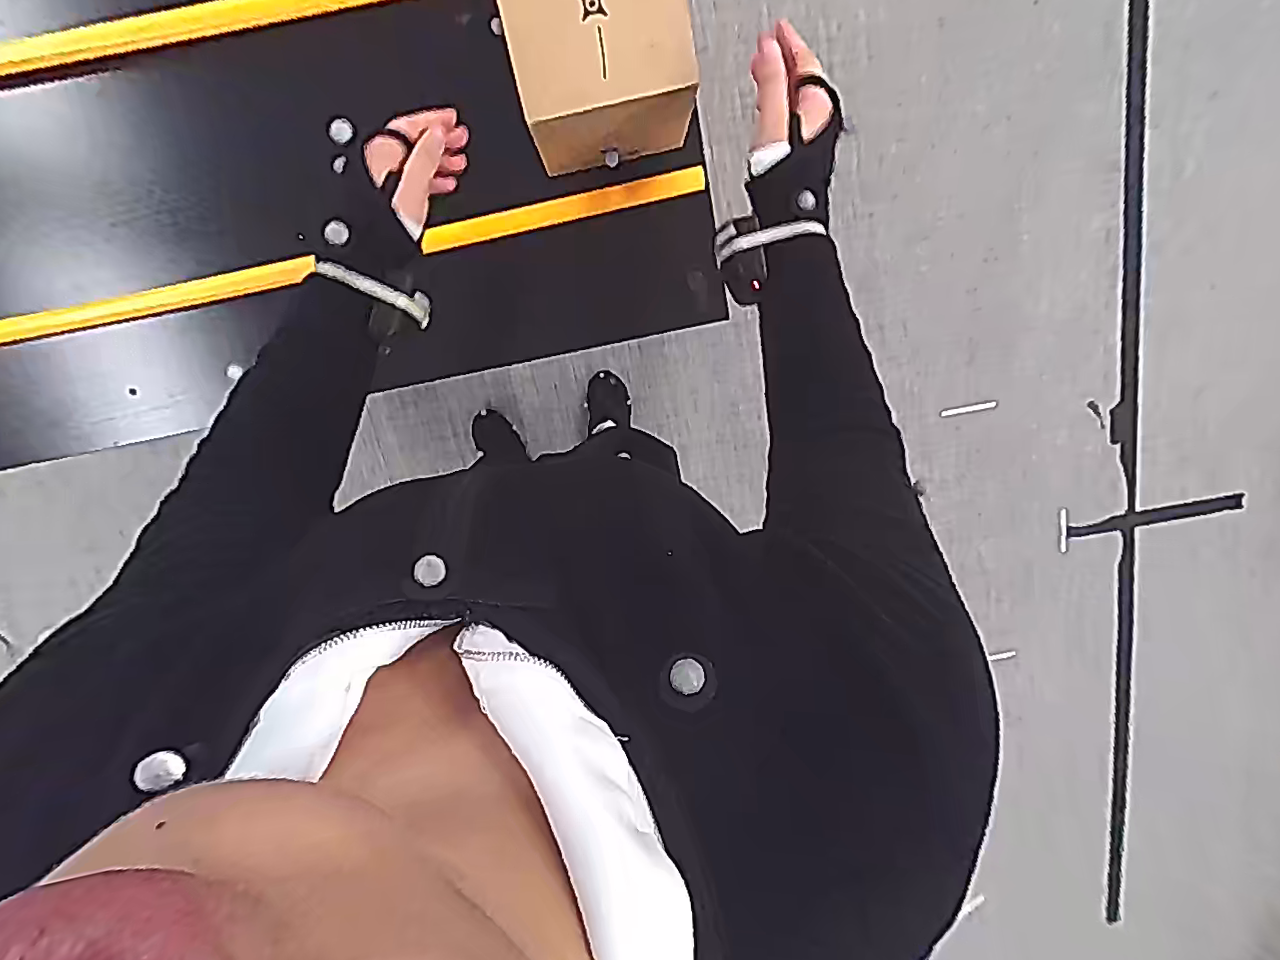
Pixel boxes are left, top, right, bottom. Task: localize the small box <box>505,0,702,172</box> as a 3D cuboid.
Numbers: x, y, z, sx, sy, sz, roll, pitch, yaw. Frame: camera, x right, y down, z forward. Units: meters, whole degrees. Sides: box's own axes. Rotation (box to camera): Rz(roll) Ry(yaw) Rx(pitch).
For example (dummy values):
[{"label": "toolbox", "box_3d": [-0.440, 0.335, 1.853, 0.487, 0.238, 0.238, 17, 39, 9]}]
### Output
[{"label": "small box", "box_3d": [-0.041, -0.448, 0.553, 0.168, 0.176, 0.179, -11, 105, 1]}]
